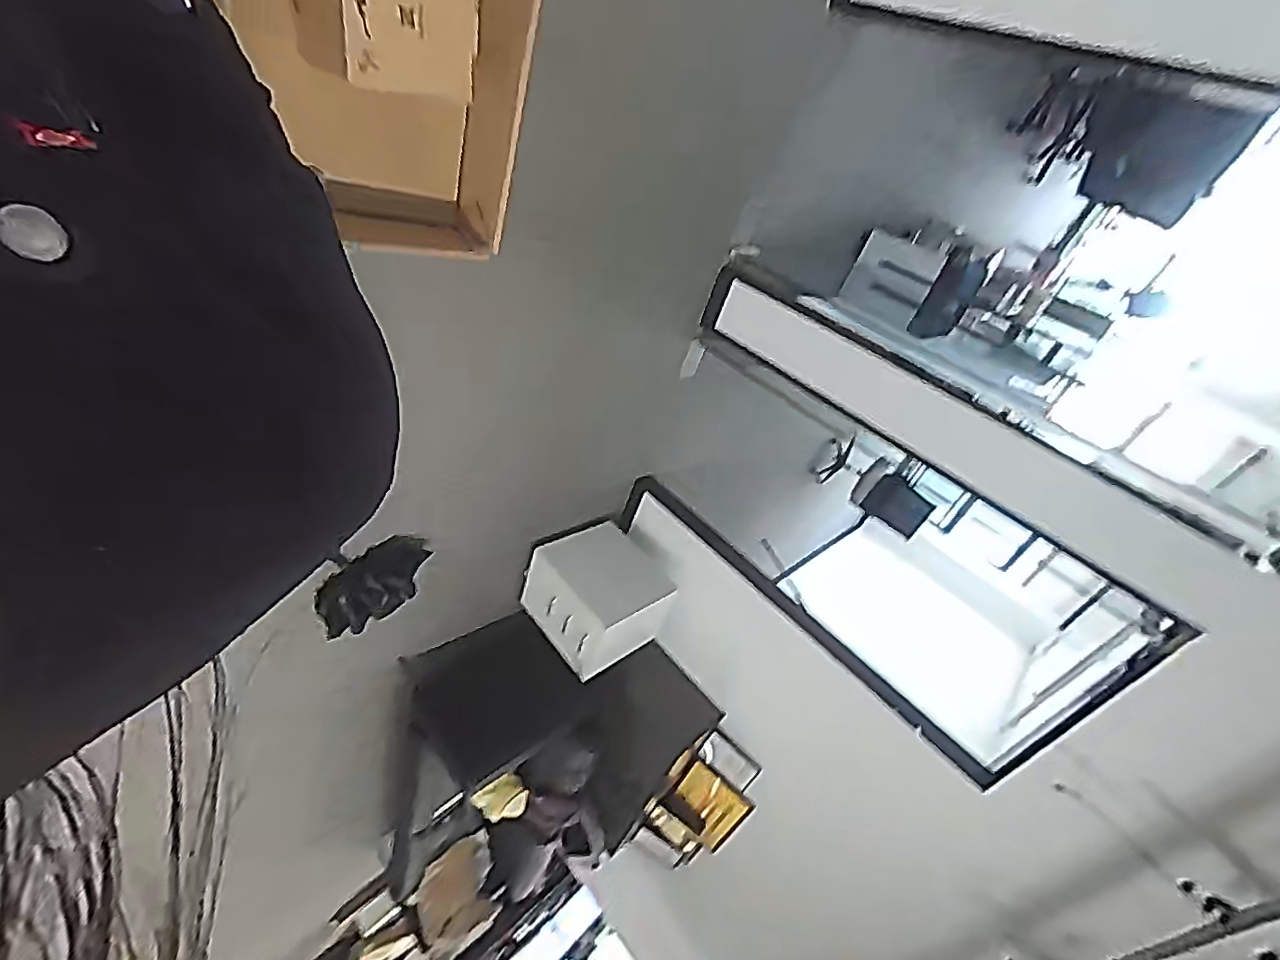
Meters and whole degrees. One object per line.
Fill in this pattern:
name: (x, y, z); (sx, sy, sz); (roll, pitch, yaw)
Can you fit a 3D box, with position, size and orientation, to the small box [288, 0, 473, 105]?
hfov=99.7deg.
small box: (-0.345, -0.628, 0.722); (0.179, 0.176, 0.168); (-24, 142, -41)
